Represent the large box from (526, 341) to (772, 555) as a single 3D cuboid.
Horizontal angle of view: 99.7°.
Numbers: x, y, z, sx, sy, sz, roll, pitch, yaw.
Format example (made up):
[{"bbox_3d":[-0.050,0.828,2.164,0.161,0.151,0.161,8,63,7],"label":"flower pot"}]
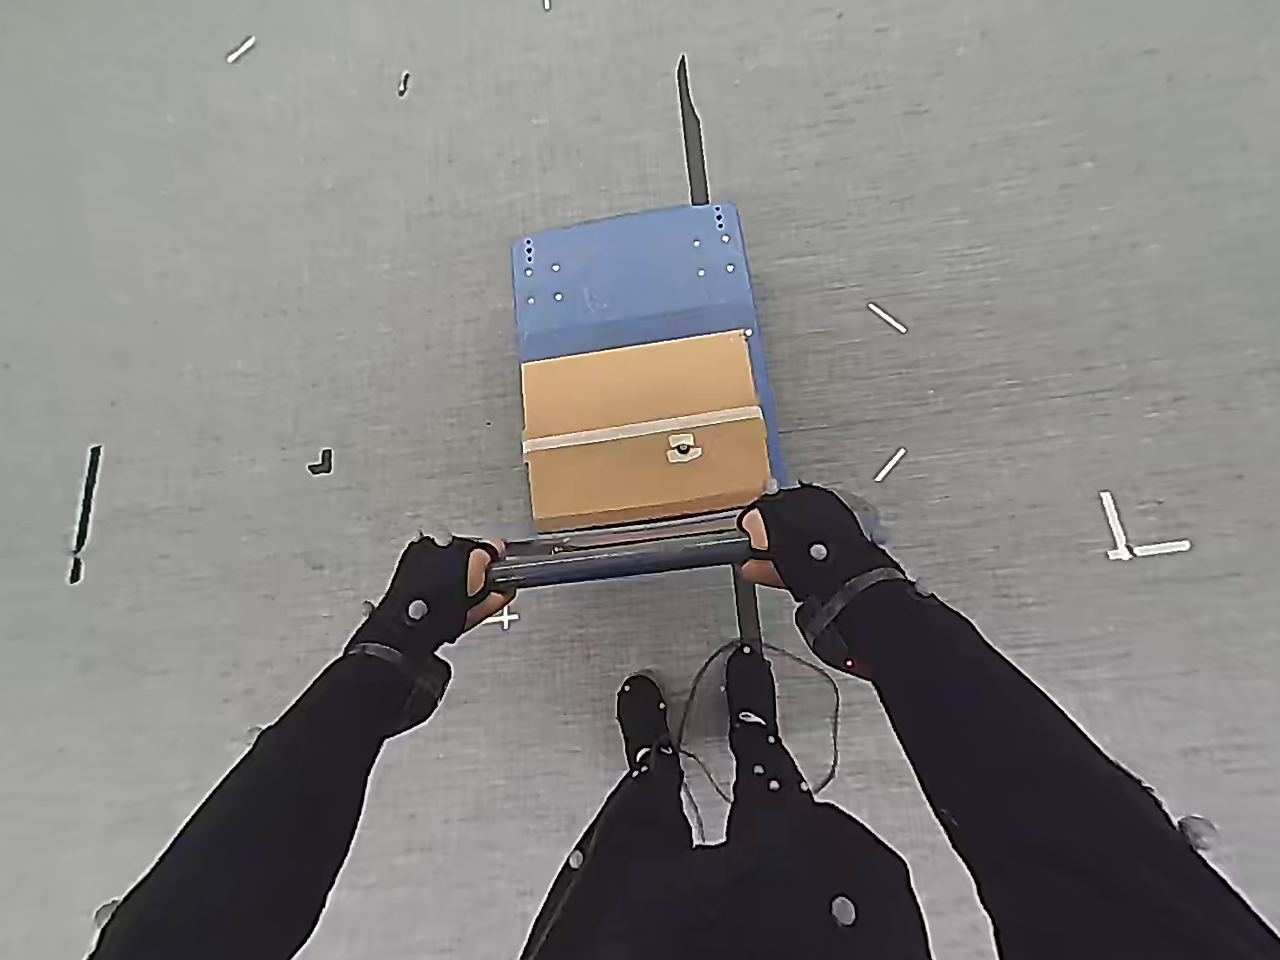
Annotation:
[{"bbox_3d":[0.018,-0.040,1.089,0.408,0.320,0.320,-8,78,3],"label":"large box"}]
